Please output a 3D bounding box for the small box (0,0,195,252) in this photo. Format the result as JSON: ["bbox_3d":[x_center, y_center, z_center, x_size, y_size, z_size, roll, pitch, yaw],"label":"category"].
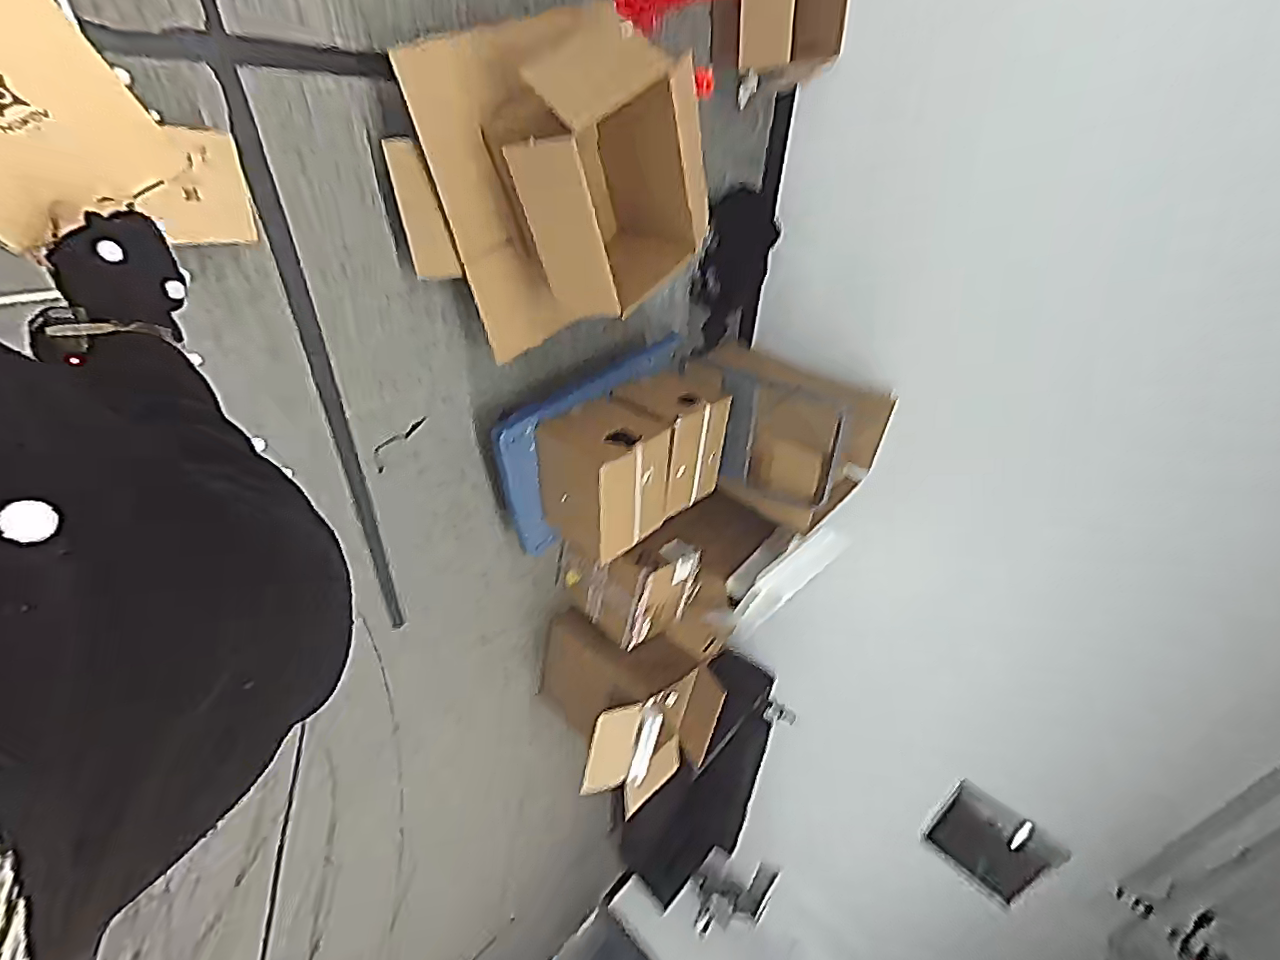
[{"bbox_3d":[-0.568,-0.327,0.484,0.168,0.176,0.179,-51,140,-24],"label":"small box"}]

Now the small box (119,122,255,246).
[{"bbox_3d":[-0.822,-0.527,0.958,0.168,0.176,0.179,-25,135,-42],"label":"small box"}]
